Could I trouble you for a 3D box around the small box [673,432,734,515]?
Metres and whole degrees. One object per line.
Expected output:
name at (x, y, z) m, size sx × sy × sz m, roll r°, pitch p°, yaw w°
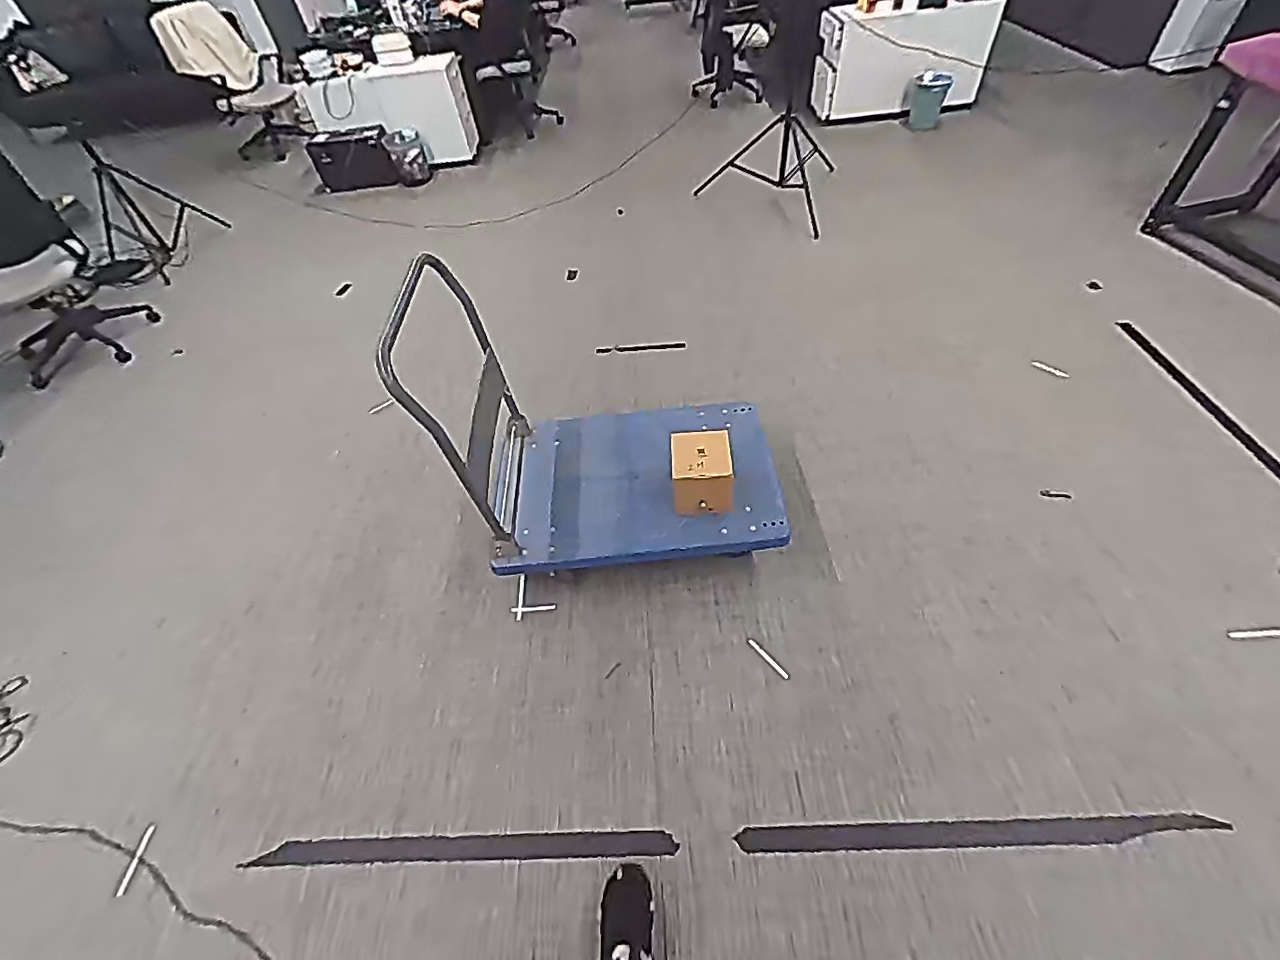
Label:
small box at (0.180, -0.018, 1.576) m, size 0.168 × 0.176 × 0.179 m, roll -3°, pitch 50°, yaw 5°
